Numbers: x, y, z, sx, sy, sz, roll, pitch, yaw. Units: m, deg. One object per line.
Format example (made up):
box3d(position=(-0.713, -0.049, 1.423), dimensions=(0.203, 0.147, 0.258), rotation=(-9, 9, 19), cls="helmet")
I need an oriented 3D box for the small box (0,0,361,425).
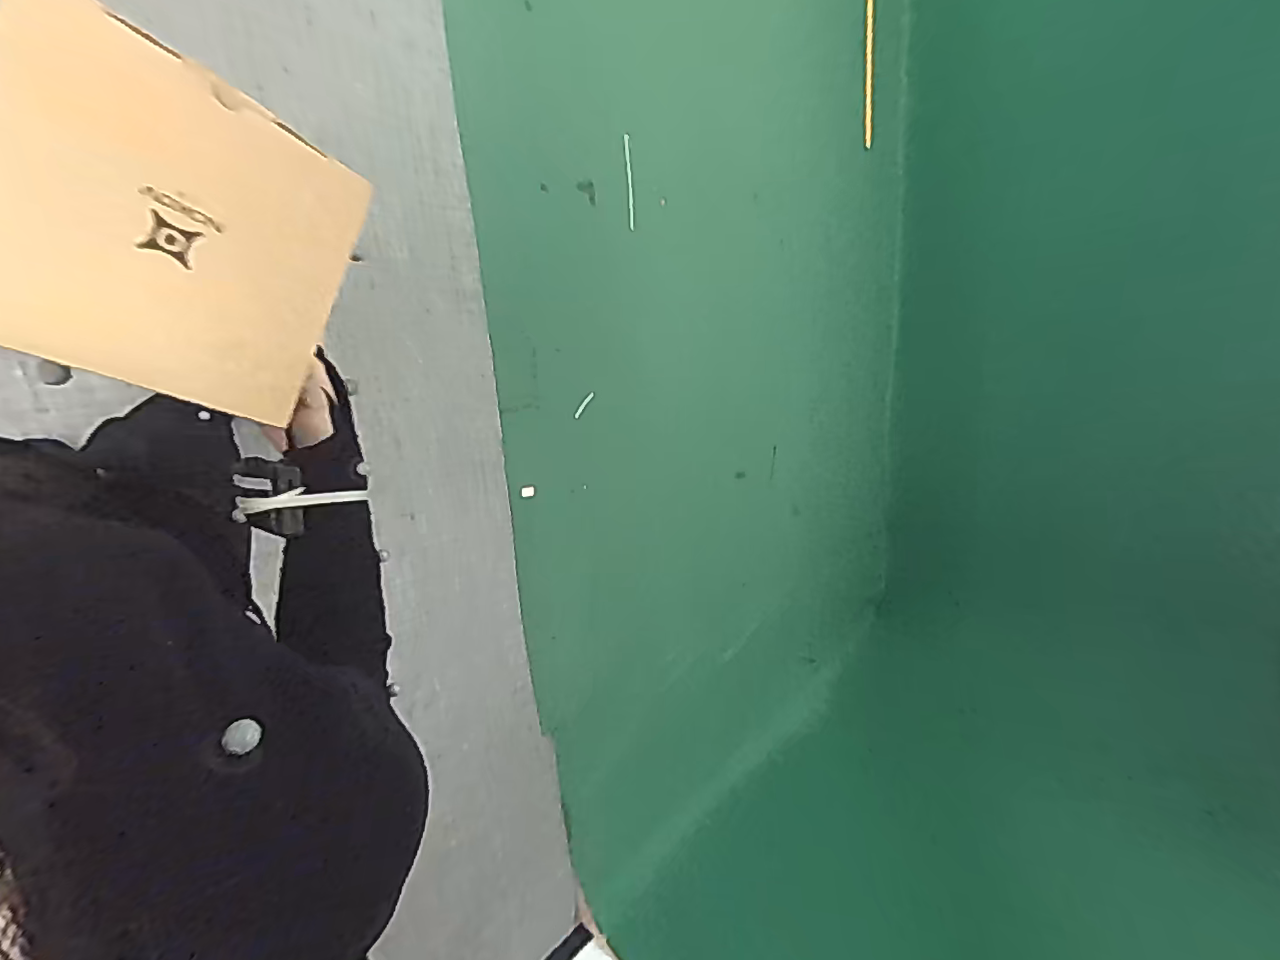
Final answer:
box3d(position=(-0.320, -0.152, 0.350), dimensions=(0.168, 0.176, 0.179), rotation=(24, 82, -48), cls="small box")
